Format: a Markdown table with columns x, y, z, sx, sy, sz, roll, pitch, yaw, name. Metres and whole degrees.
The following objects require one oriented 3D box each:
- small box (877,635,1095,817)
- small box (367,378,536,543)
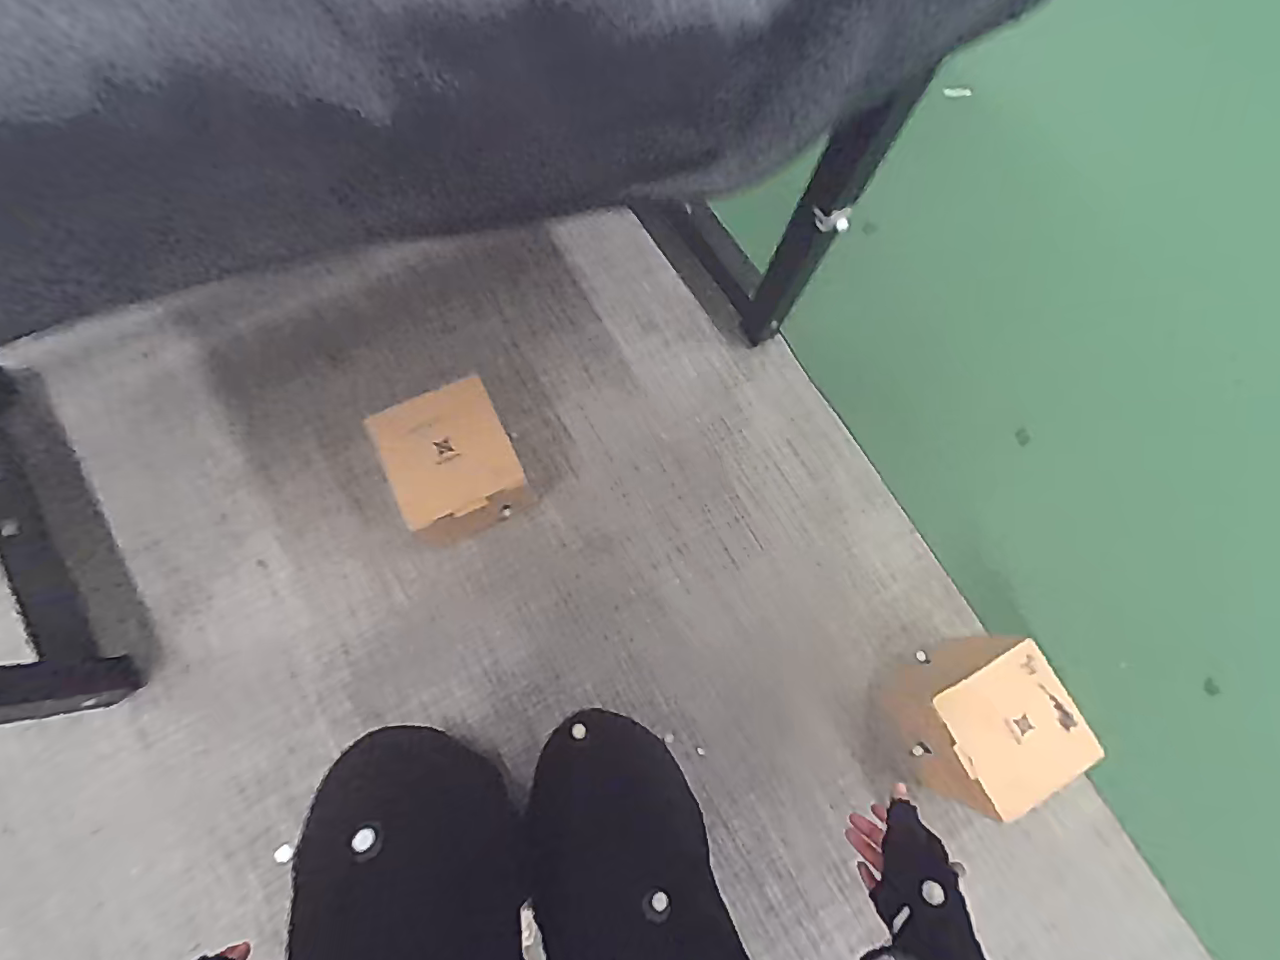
| x | y | z | sx | sy | sz | roll | pitch | yaw | name |
| --- | --- | --- | --- | --- | --- | --- | --- | --- | --- |
| 0.473 | 0.337 | 0.778 | 0.179 | 0.176 | 0.168 | -25 | 79 | -10 | small box |
| -0.269 | -0.017 | 0.812 | 0.168 | 0.176 | 0.179 | -26 | 77 | -11 | small box |
